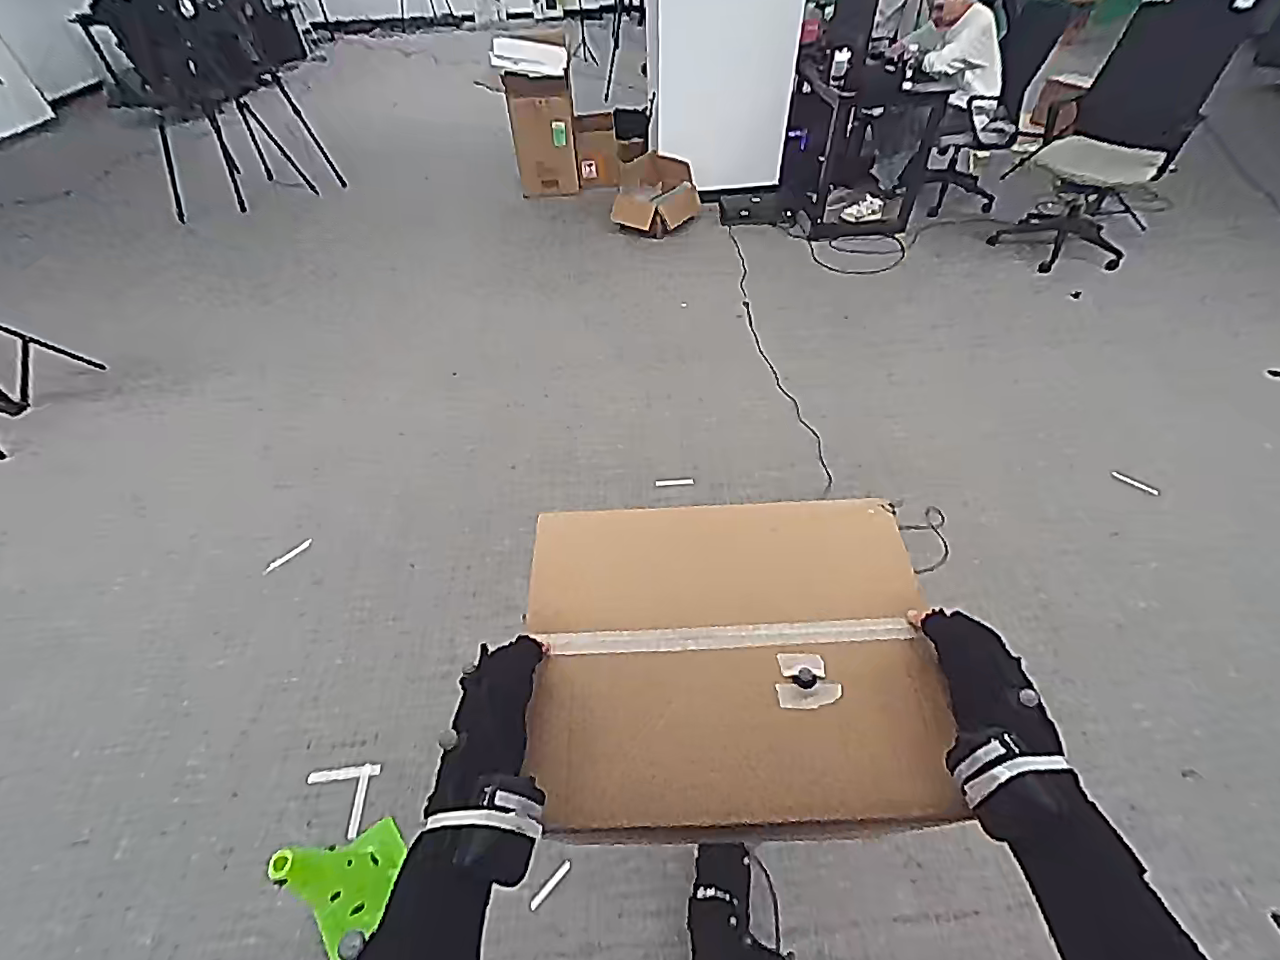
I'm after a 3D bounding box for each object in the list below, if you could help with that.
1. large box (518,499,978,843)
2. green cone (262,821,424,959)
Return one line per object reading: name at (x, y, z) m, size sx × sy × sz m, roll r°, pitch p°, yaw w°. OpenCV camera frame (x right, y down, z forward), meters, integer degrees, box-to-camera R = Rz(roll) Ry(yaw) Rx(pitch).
large box at (0.091, 0.244, 0.665) m, size 0.408 × 0.320 × 0.320 m, roll -3°, pitch 54°, yaw 1°
green cone at (-0.607, 0.779, 1.053) m, size 0.202 × 0.368 × 0.200 m, roll -35°, pitch 54°, yaw -24°
